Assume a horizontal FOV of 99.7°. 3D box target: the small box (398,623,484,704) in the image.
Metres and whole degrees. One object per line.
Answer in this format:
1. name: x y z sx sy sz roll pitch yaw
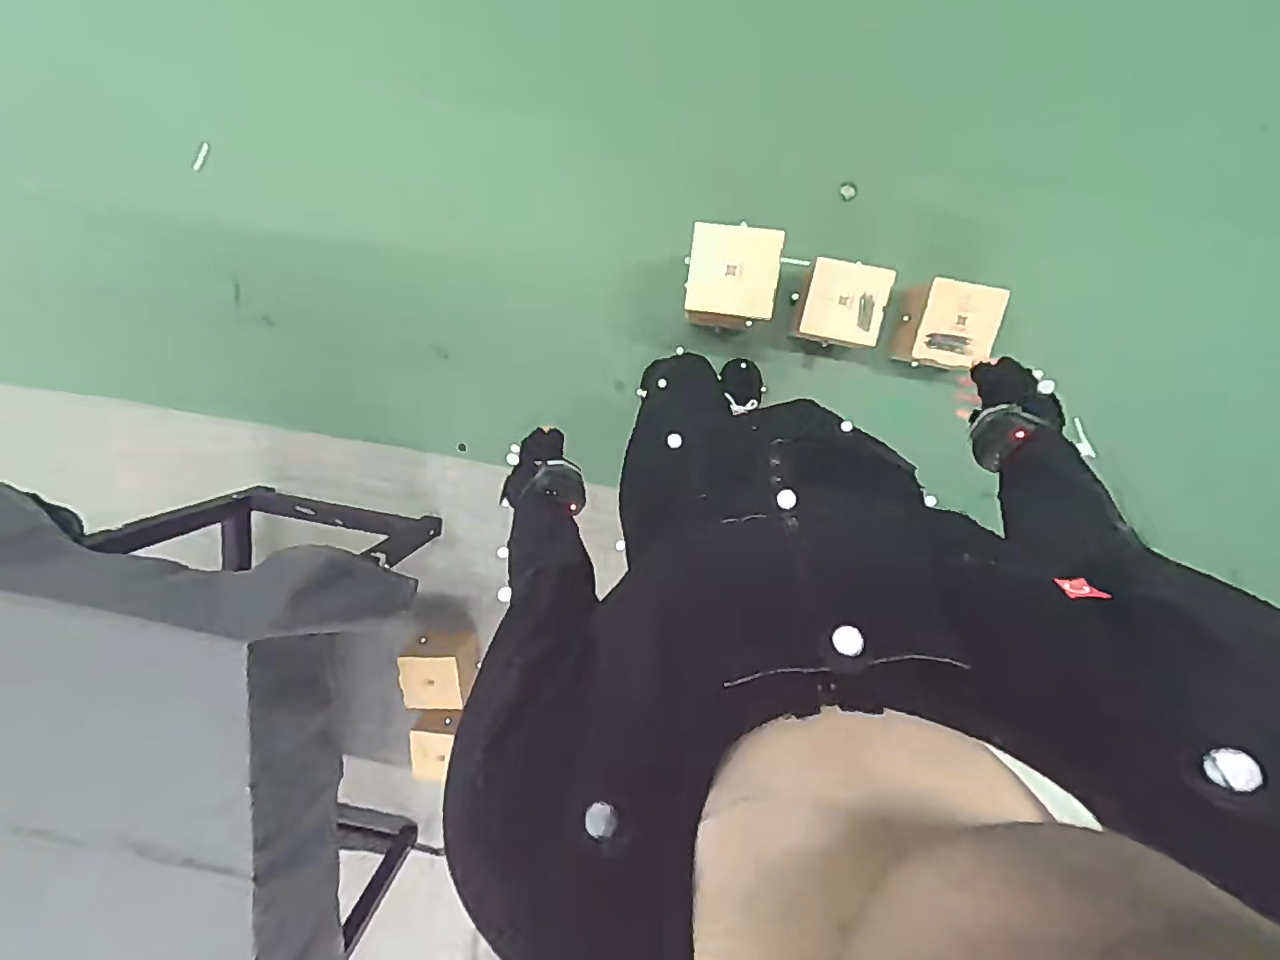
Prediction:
1. small box: -0.582 0.537 1.599 0.179 0.176 0.168 -1 103 7

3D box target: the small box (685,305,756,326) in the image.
1. small box: 0.204 -0.467 1.285 0.168 0.176 0.179 9 105 3

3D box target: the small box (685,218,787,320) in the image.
1. small box: 0.192 -0.430 1.127 0.179 0.176 0.168 8 103 4
